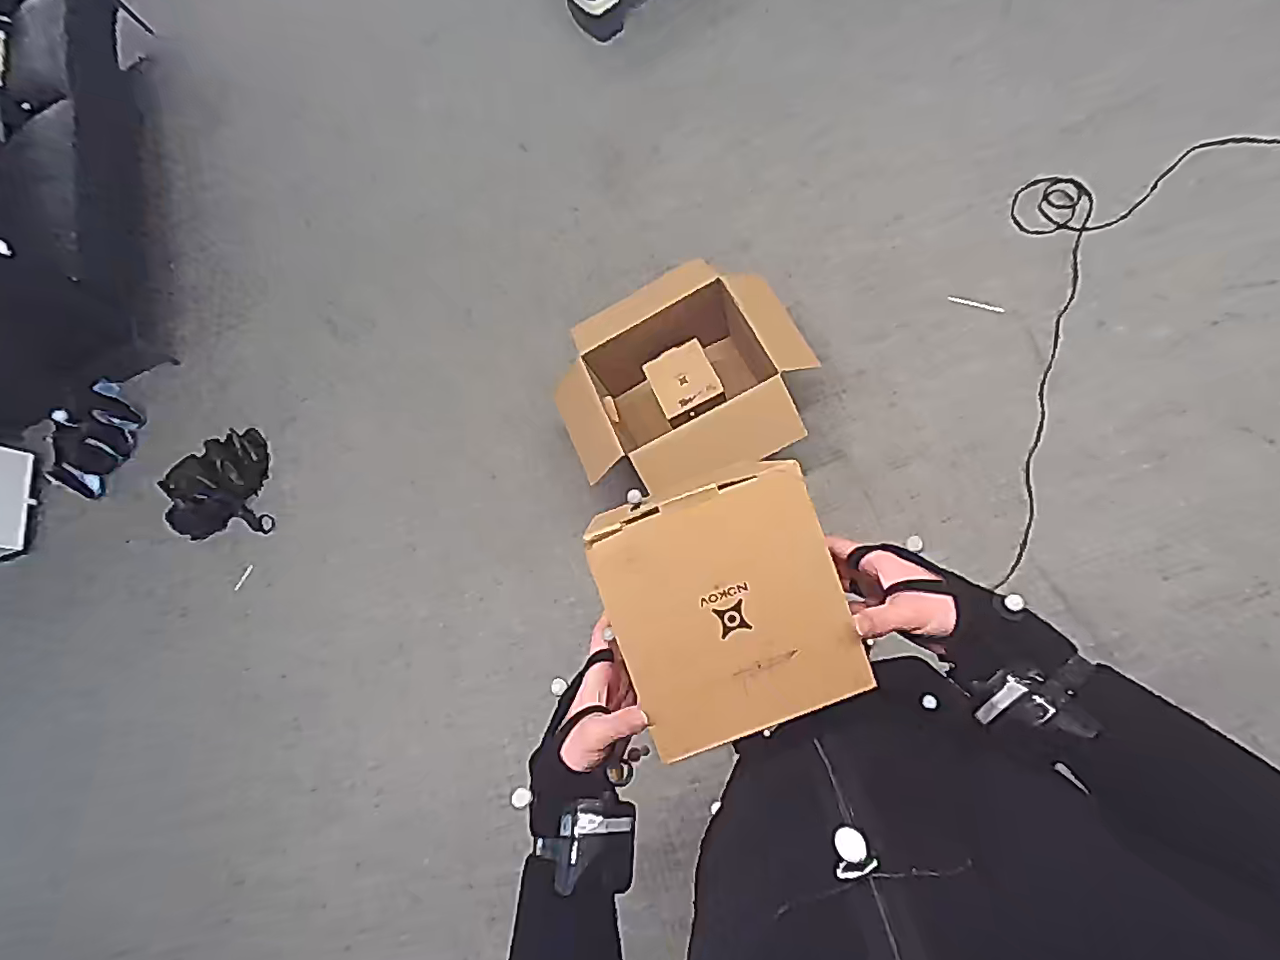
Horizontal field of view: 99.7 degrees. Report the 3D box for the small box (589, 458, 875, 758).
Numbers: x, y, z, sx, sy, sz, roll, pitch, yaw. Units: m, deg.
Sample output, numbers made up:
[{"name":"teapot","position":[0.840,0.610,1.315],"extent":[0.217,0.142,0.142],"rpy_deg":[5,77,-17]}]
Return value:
[{"name":"small box","position":[0.062,0.089,0.463],"extent":[0.168,0.176,0.179],"rpy_deg":[-20,93,-1]}]
